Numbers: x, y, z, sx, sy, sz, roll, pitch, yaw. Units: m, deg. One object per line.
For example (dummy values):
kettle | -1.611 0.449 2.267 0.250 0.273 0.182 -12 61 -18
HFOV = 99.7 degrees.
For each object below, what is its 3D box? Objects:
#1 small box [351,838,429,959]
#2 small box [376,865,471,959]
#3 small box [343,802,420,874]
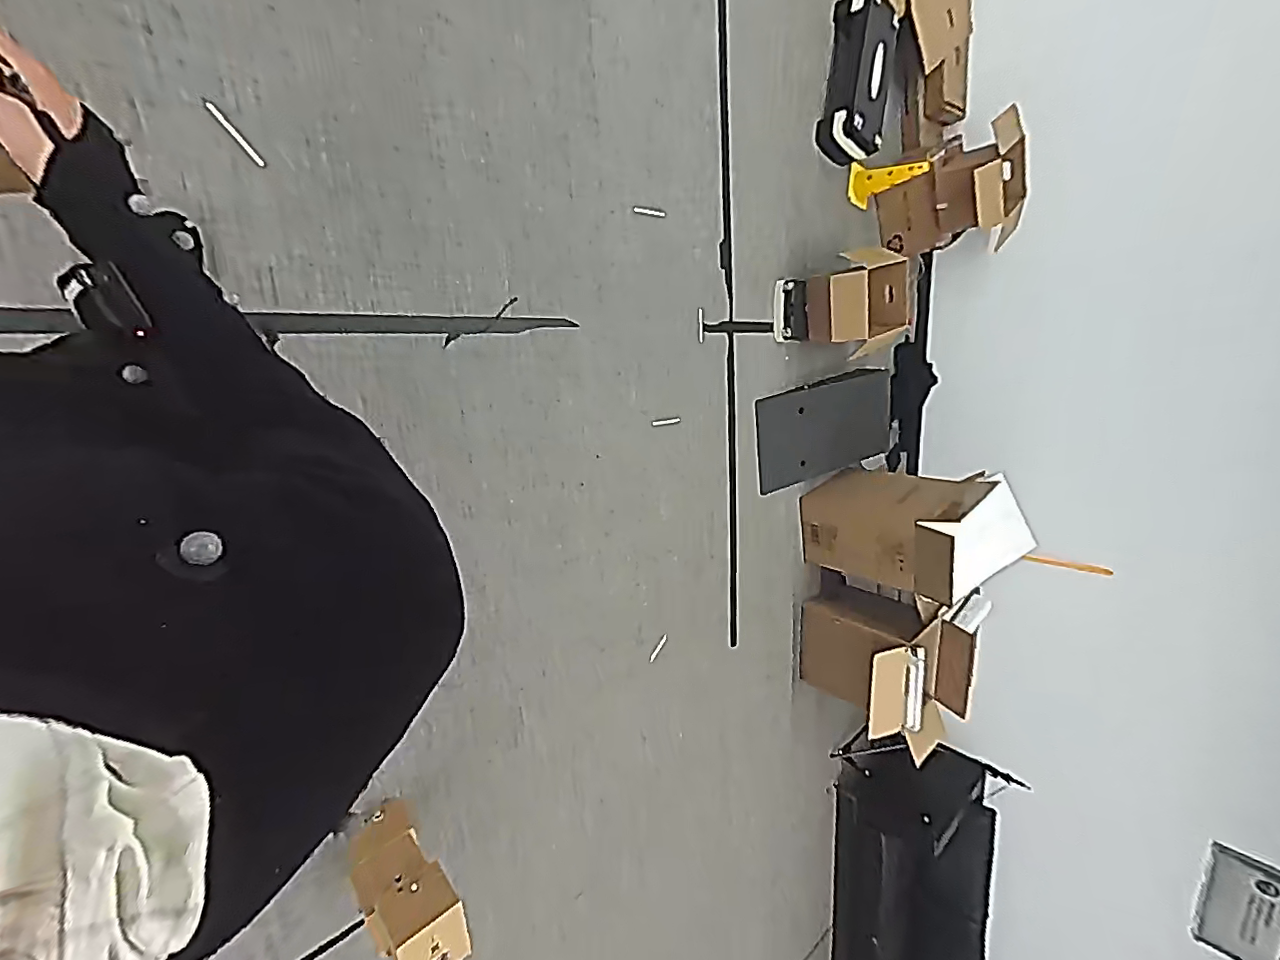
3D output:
small box | -0.675 1.157 1.506 0.179 0.176 0.168 -20 111 -38
small box | -0.557 1.154 1.389 0.168 0.176 0.179 -16 108 -40
small box | -0.773 1.128 1.635 0.168 0.176 0.179 -19 110 -38
